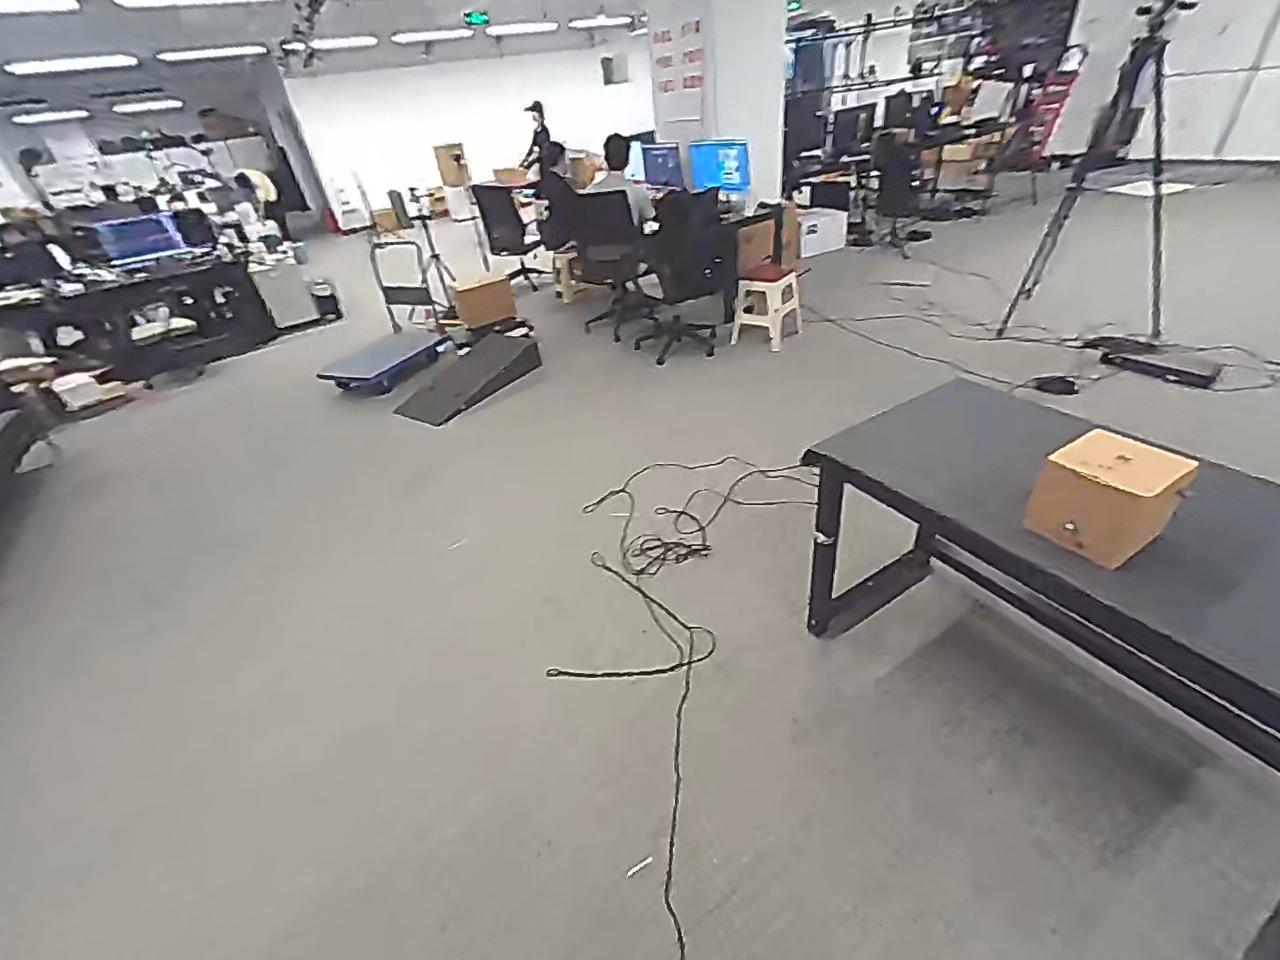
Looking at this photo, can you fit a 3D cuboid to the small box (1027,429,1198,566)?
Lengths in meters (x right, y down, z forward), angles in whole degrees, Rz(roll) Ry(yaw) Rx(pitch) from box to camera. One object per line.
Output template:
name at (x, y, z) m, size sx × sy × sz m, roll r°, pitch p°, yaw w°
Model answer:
small box at (0.883, 0.031, 1.029) m, size 0.179 × 0.176 × 0.168 m, roll -23°, pitch 37°, yaw -21°
